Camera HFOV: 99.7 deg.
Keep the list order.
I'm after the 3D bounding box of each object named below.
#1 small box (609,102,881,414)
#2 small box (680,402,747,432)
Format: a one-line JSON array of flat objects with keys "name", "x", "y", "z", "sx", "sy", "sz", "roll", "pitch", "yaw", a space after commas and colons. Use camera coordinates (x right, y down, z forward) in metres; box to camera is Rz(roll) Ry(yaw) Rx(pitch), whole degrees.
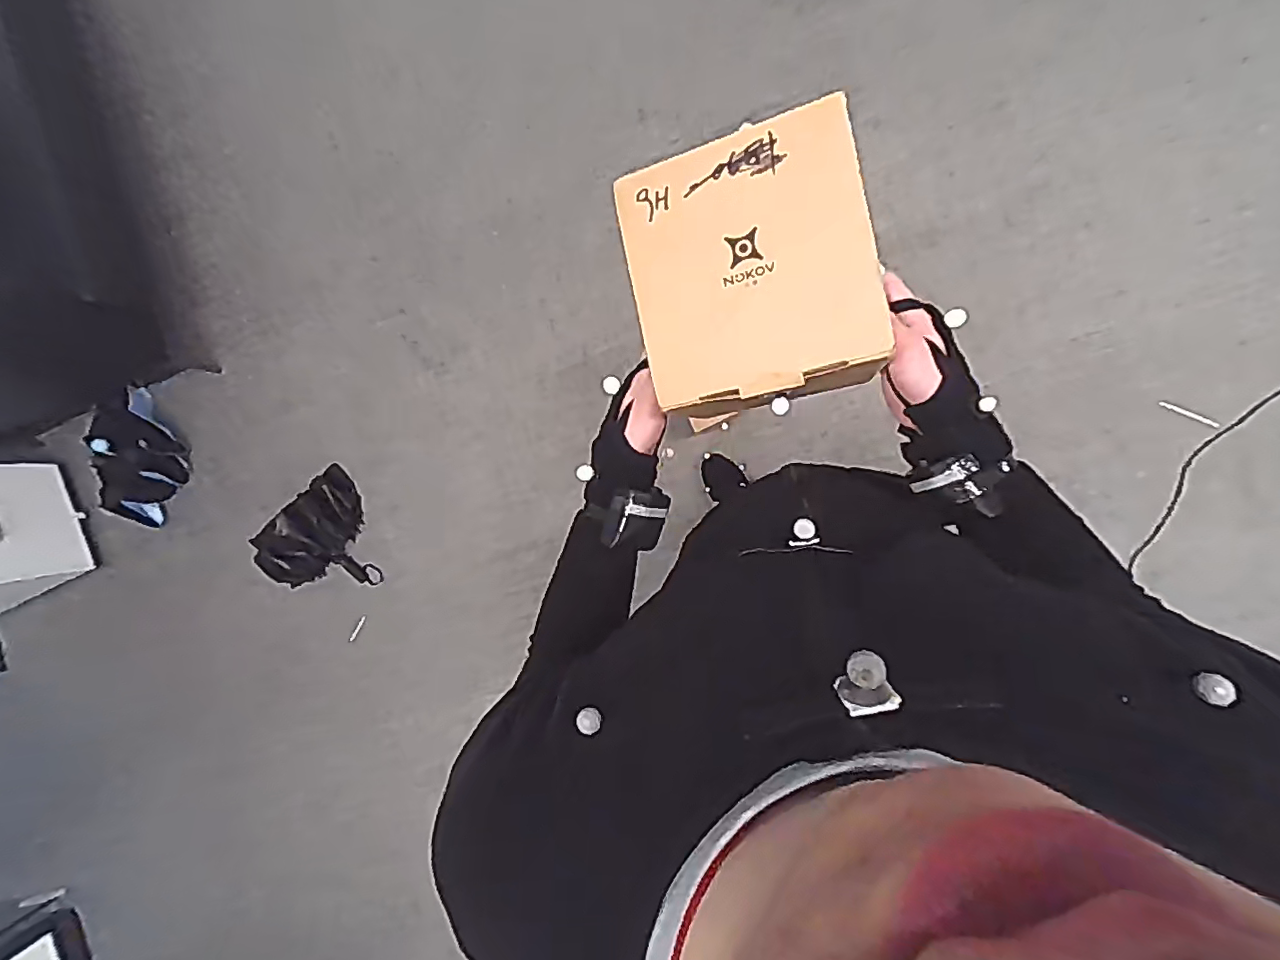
[{"name": "small box", "x": 0.093, "y": -0.158, "z": 0.457, "sx": 0.168, "sy": 0.176, "sz": 0.179, "roll": -12, "pitch": 92, "yaw": 17}, {"name": "small box", "x": 0.179, "y": -0.240, "z": 1.474, "sx": 0.168, "sy": 0.176, "sz": 0.179, "roll": -25, "pitch": 89, "yaw": 10}]
